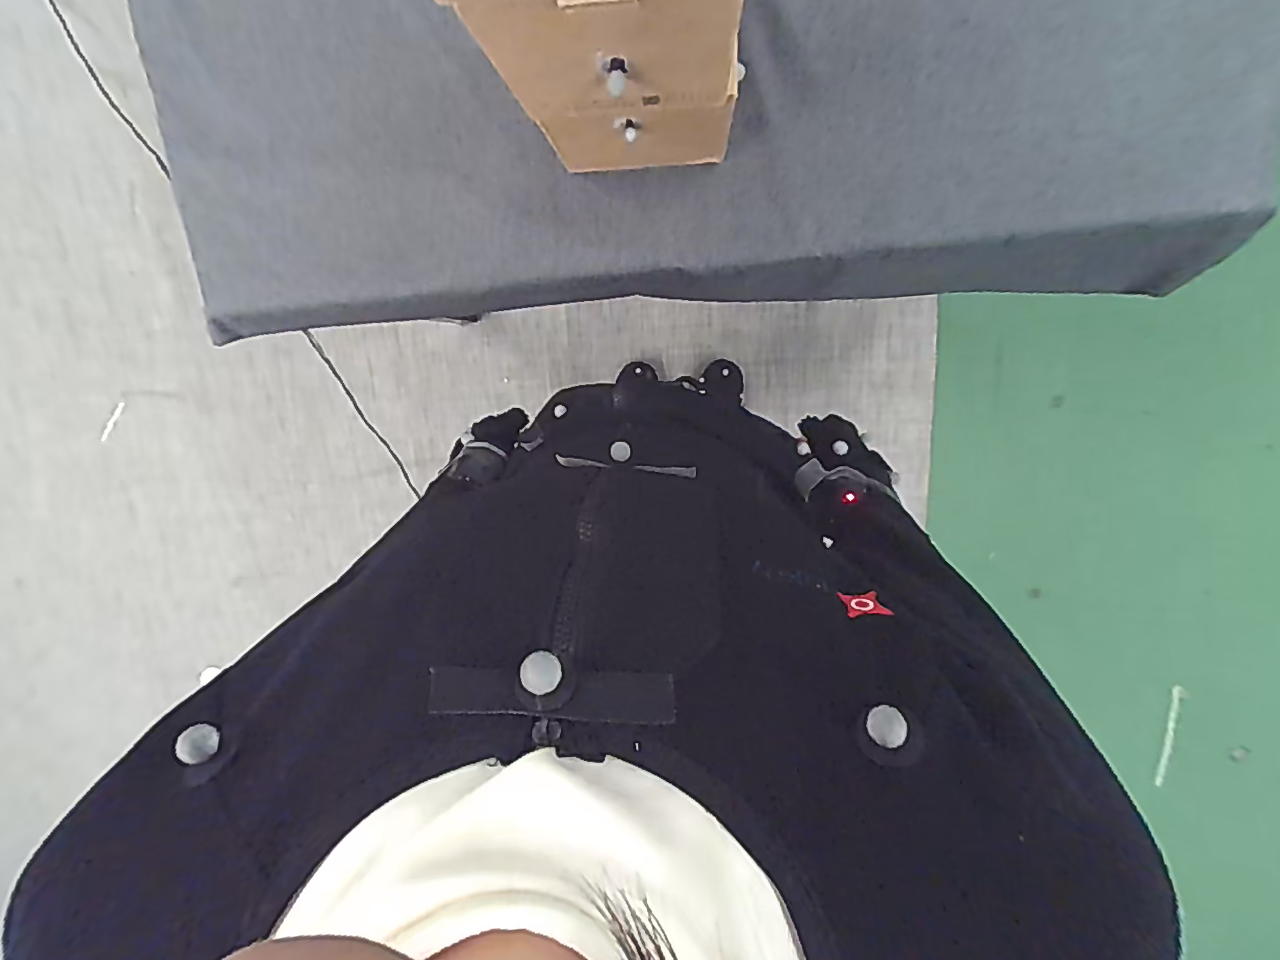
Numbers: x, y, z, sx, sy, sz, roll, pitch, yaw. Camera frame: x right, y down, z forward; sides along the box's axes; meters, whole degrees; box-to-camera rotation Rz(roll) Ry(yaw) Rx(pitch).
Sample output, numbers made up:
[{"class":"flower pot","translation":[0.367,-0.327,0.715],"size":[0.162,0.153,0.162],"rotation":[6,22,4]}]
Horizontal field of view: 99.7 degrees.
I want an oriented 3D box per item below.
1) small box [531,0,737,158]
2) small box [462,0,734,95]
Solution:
[{"class":"small box","translation":[-0.002,-0.424,0.512],"size":[0.179,0.176,0.168],"rotation":[-1,105,4]},{"class":"small box","translation":[-0.020,-0.382,0.355],"size":[0.168,0.176,0.179],"rotation":[-1,105,5]}]
